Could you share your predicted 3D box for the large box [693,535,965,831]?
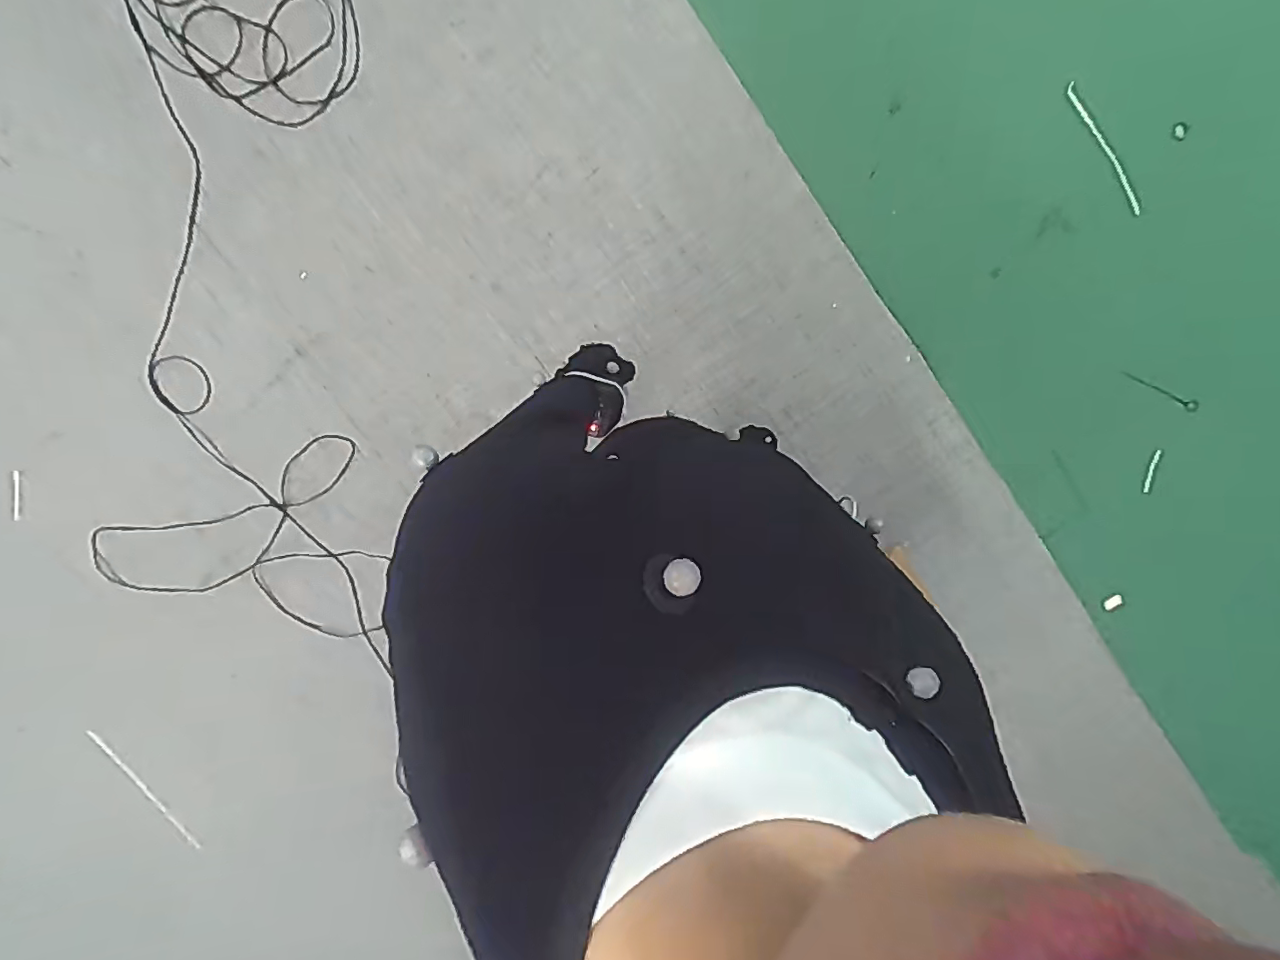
[{"bbox_3d":[0.365,0.360,1.012,0.320,0.408,0.320,-26,94,39],"label":"large box"}]
